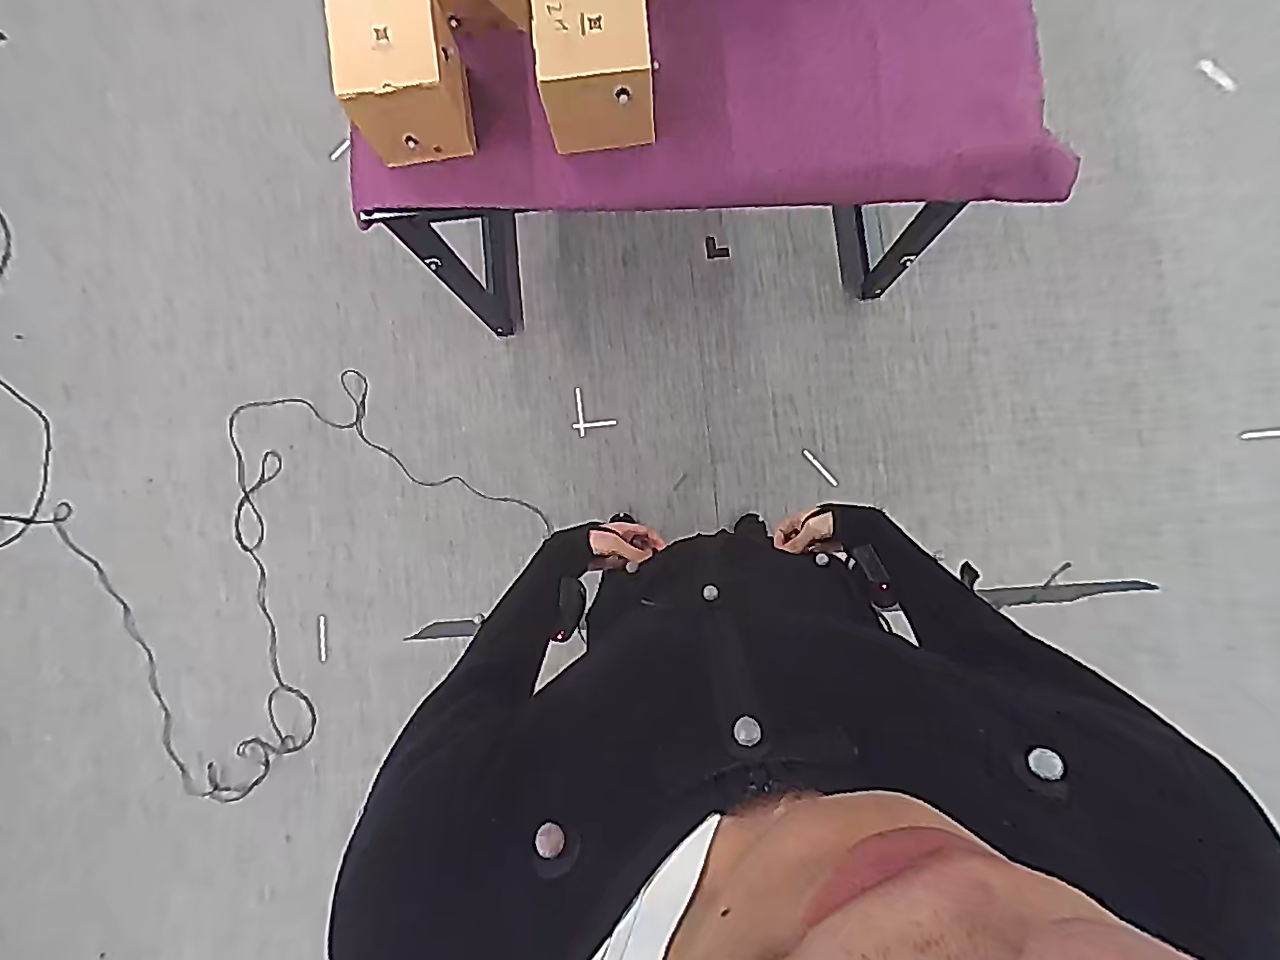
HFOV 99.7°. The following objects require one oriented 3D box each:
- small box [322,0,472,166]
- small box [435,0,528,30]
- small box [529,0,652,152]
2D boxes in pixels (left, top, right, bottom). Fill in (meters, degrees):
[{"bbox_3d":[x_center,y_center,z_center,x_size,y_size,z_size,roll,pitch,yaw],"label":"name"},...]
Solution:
[{"bbox_3d":[-0.394,-0.667,0.901,0.168,0.176,0.179,-9,87,1],"label":"small box"},{"bbox_3d":[-0.287,-0.905,0.910,0.168,0.176,0.179,1,87,3],"label":"small box"},{"bbox_3d":[-0.073,-0.672,0.883,0.179,0.176,0.168,-5,86,4],"label":"small box"}]
